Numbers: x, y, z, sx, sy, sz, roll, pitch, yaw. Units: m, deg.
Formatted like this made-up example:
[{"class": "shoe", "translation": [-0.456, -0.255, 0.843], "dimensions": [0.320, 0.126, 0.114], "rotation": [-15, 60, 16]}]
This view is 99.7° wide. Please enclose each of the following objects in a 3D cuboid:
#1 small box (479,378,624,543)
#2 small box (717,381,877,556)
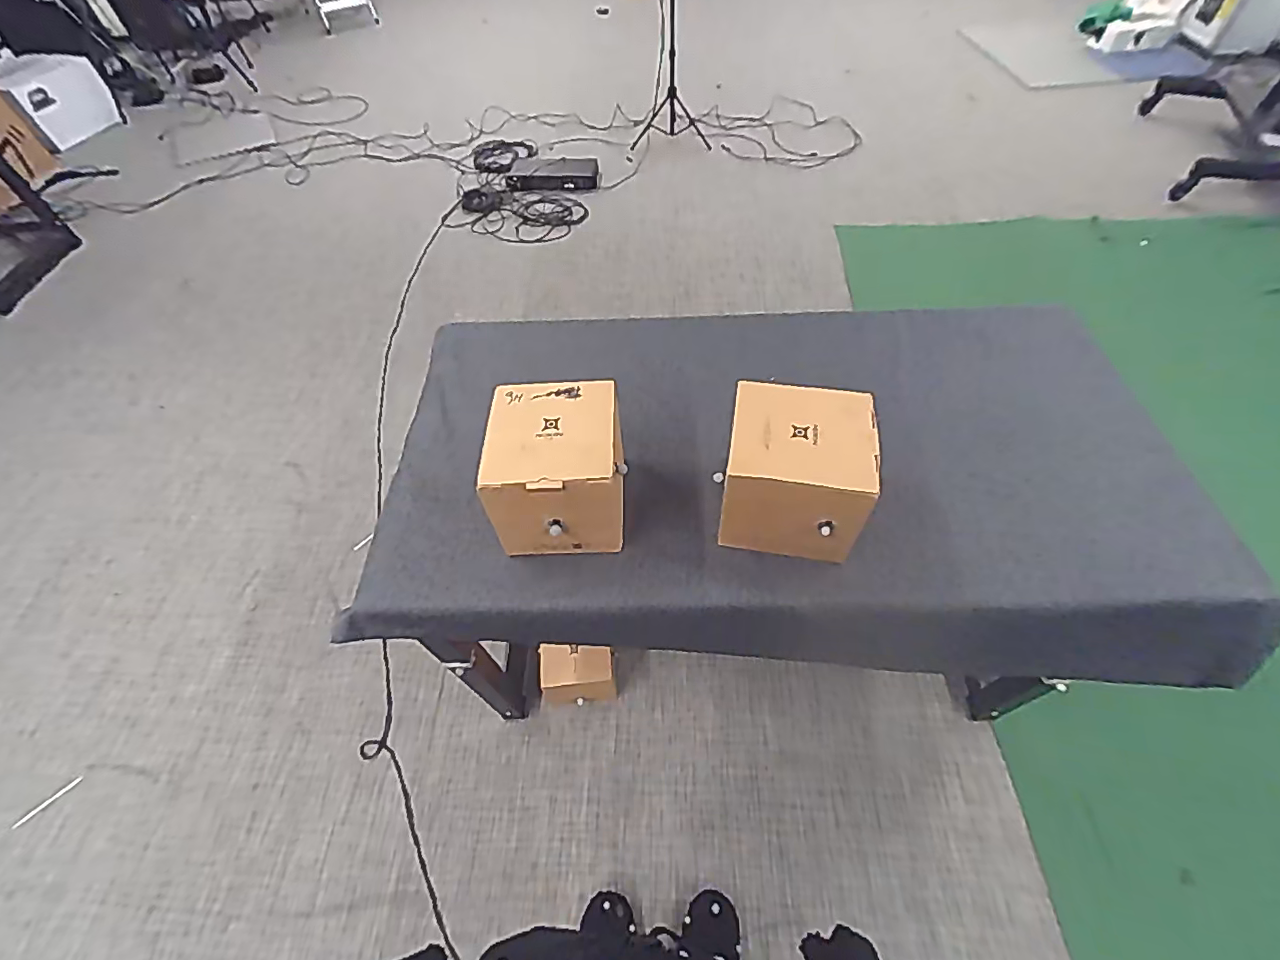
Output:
[{"class": "small box", "translation": [-0.110, -0.021, 0.759], "dimensions": [0.168, 0.176, 0.179], "rotation": [-1, 54, 1]}, {"class": "small box", "translation": [0.207, -0.011, 0.741], "dimensions": [0.179, 0.176, 0.168], "rotation": [7, 54, 9]}]
